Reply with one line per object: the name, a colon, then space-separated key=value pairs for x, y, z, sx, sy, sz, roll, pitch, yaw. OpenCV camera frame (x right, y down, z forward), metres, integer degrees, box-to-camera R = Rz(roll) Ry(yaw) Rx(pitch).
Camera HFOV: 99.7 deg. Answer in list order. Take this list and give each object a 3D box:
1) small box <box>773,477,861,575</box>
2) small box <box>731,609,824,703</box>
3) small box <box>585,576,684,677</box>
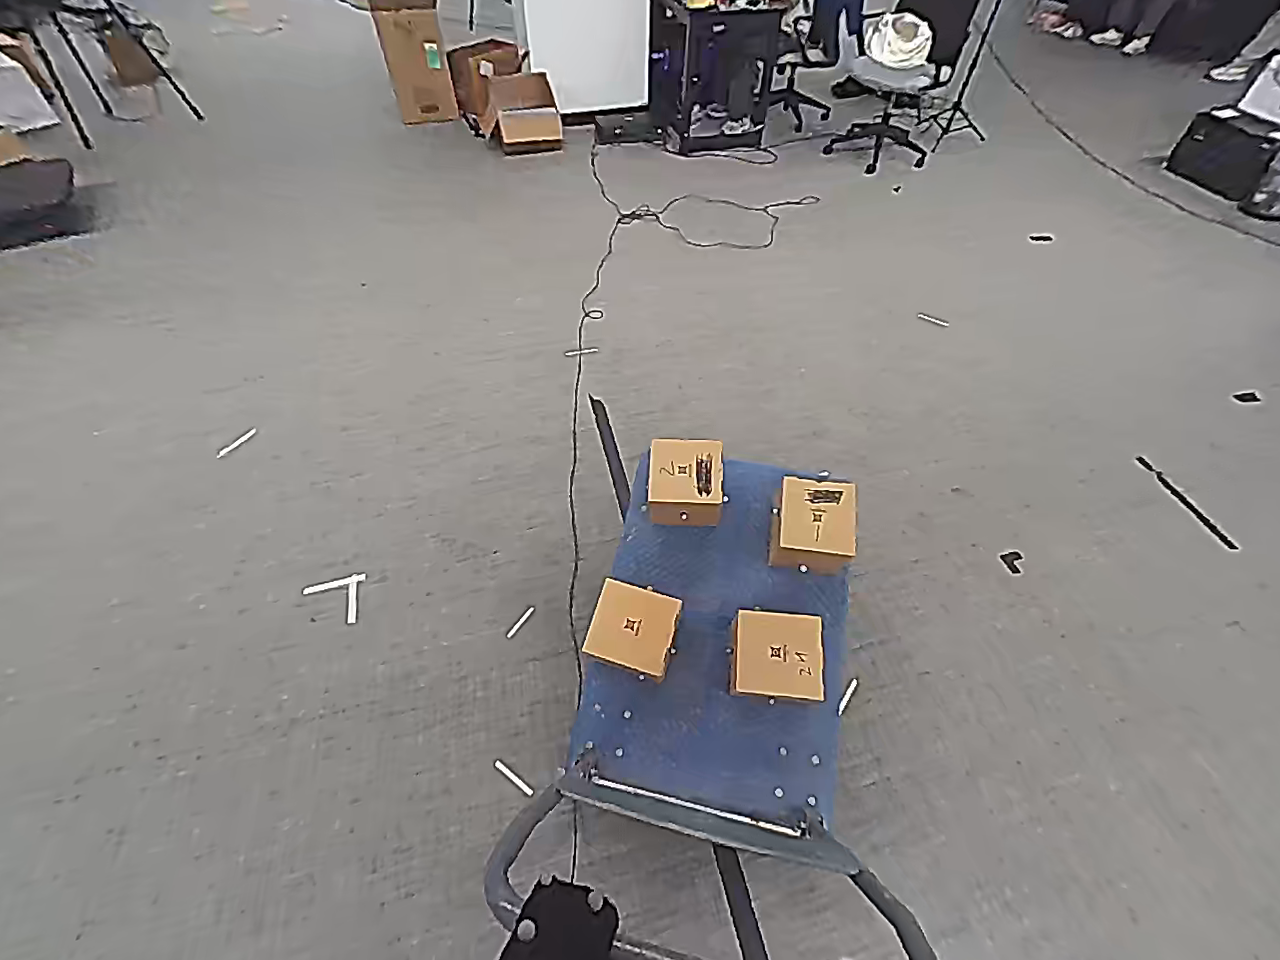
small box: x=0.416 y=0.113 z=1.290 sx=0.168 sy=0.176 sz=0.179 roll=7 pitch=68 yaw=8
small box: x=0.294 y=0.388 z=1.177 sx=0.179 sy=0.176 sz=0.168 roll=5 pitch=67 yaw=7
small box: x=-0.007 y=0.338 z=1.223 sx=0.179 sy=0.176 sz=0.168 roll=16 pitch=68 yaw=9
